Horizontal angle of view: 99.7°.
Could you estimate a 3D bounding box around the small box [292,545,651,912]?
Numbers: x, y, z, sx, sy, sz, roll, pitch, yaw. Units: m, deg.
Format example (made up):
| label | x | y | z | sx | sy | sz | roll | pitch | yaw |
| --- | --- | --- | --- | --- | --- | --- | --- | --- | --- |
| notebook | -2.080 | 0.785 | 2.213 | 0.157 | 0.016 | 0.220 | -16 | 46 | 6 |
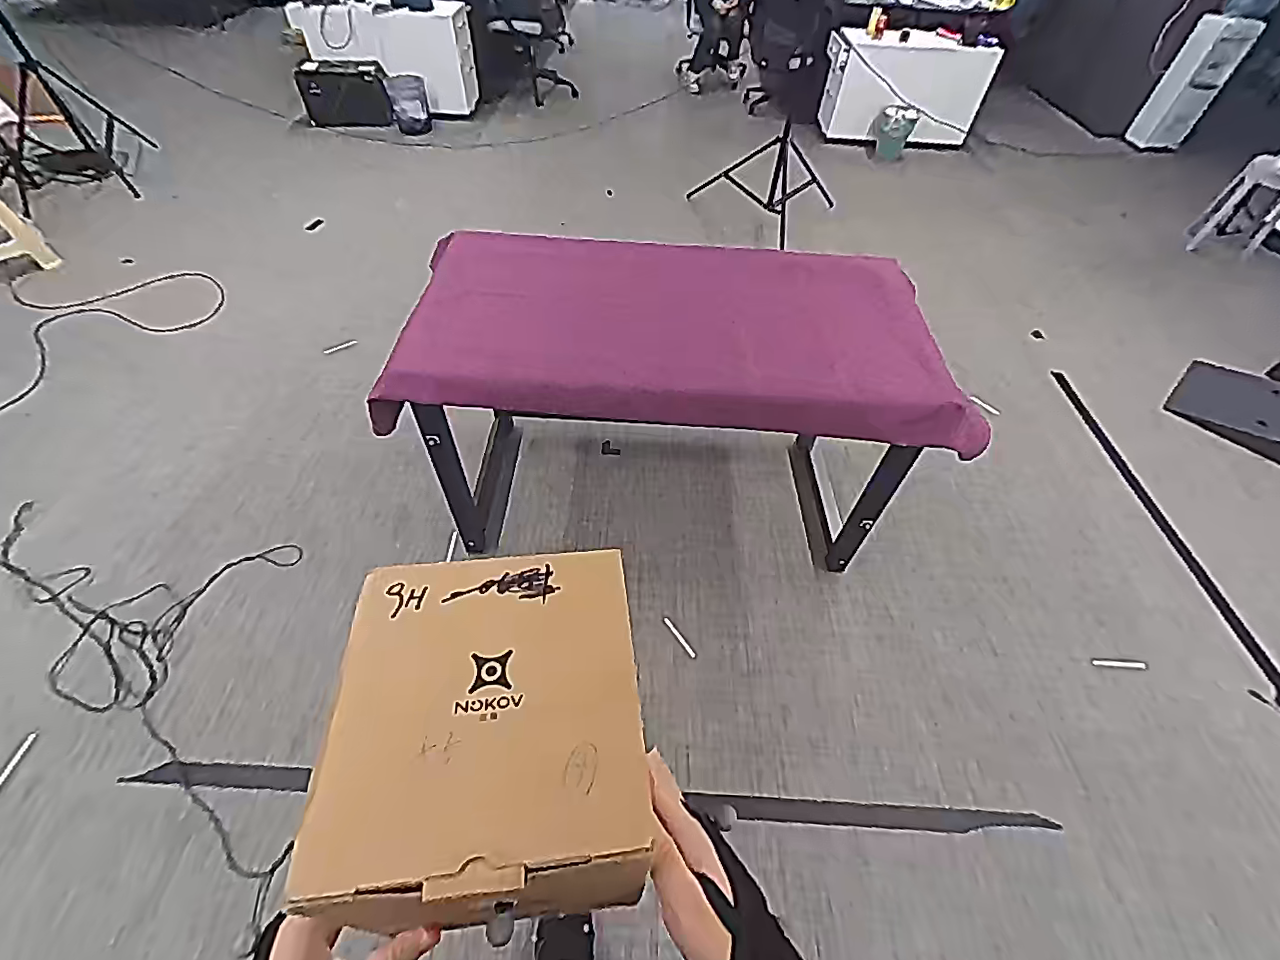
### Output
| label | x | y | z | sx | sy | sz | roll | pitch | yaw |
| --- | --- | --- | --- | --- | --- | --- | --- | --- | --- |
| small box | -0.086 | 0.166 | 0.359 | 0.168 | 0.176 | 0.179 | -3 | 47 | -7 |
